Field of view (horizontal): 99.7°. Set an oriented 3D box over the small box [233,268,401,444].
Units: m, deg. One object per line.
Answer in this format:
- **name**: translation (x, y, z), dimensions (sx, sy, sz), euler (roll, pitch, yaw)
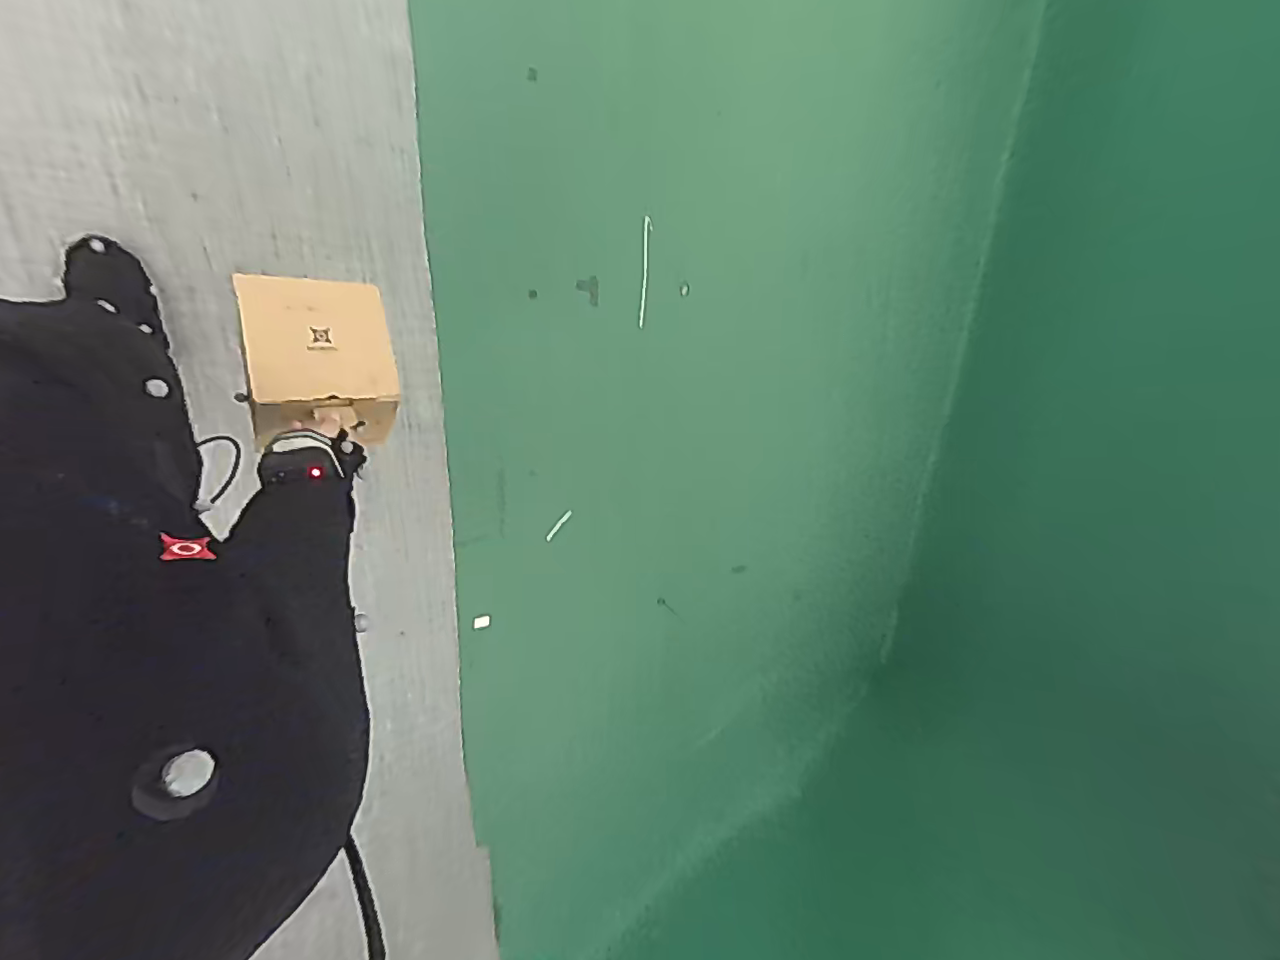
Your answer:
- **small box**: translation (-0.444, -0.157, 0.743), dimensions (0.168, 0.176, 0.179), euler (-8, 75, -37)
